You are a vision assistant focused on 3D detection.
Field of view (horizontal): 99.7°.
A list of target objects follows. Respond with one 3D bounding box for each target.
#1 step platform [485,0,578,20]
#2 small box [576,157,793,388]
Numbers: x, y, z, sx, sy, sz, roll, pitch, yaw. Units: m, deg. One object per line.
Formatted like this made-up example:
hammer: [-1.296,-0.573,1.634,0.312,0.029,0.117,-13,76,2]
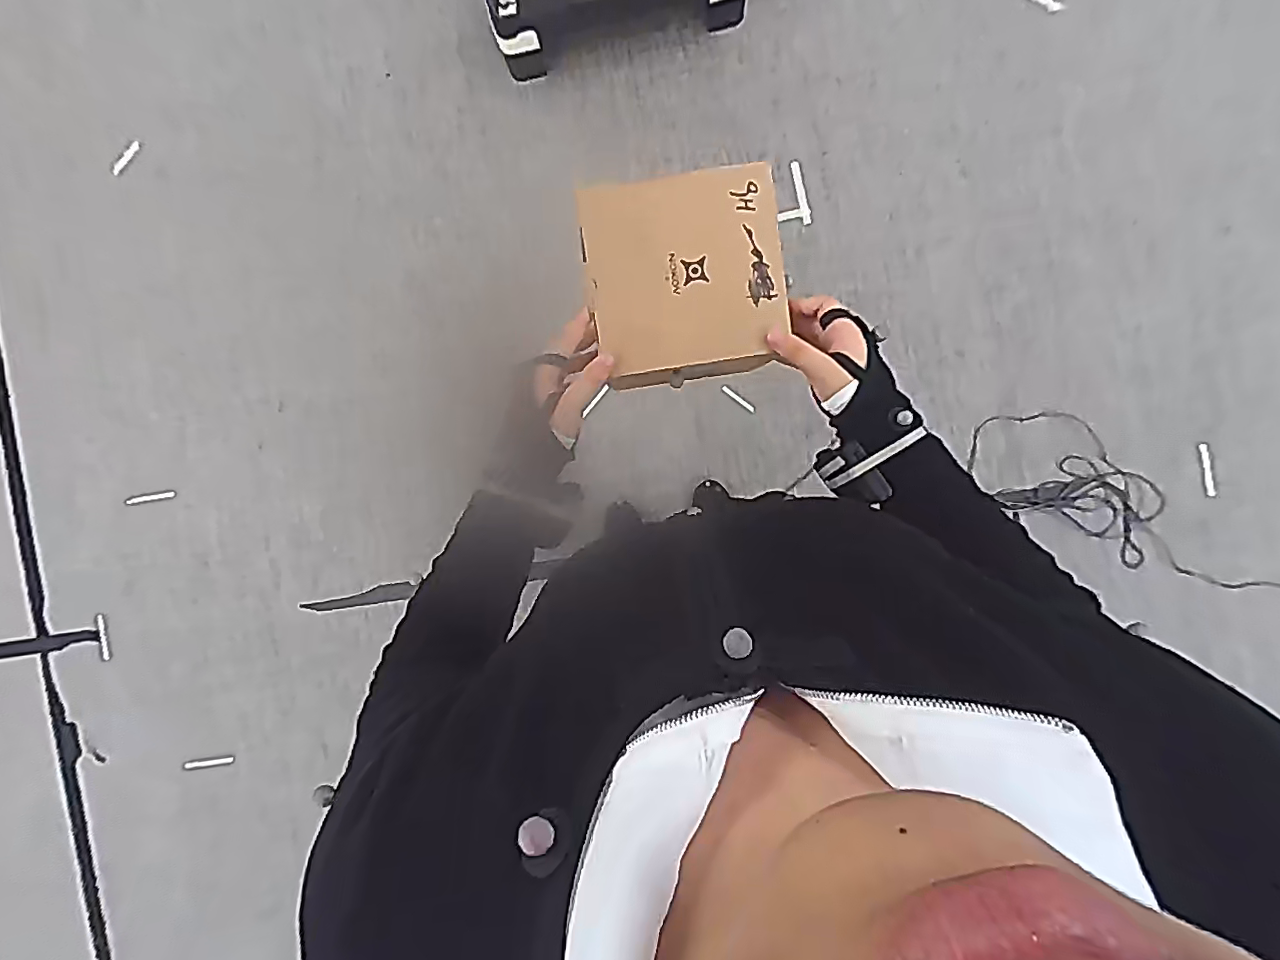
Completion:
step platform: [-0.073,-1.295,1.196,0.684,0.204,0.286,-12,89,3]
small box: [0.042,-0.193,0.554,0.179,0.176,0.168,-8,94,1]
